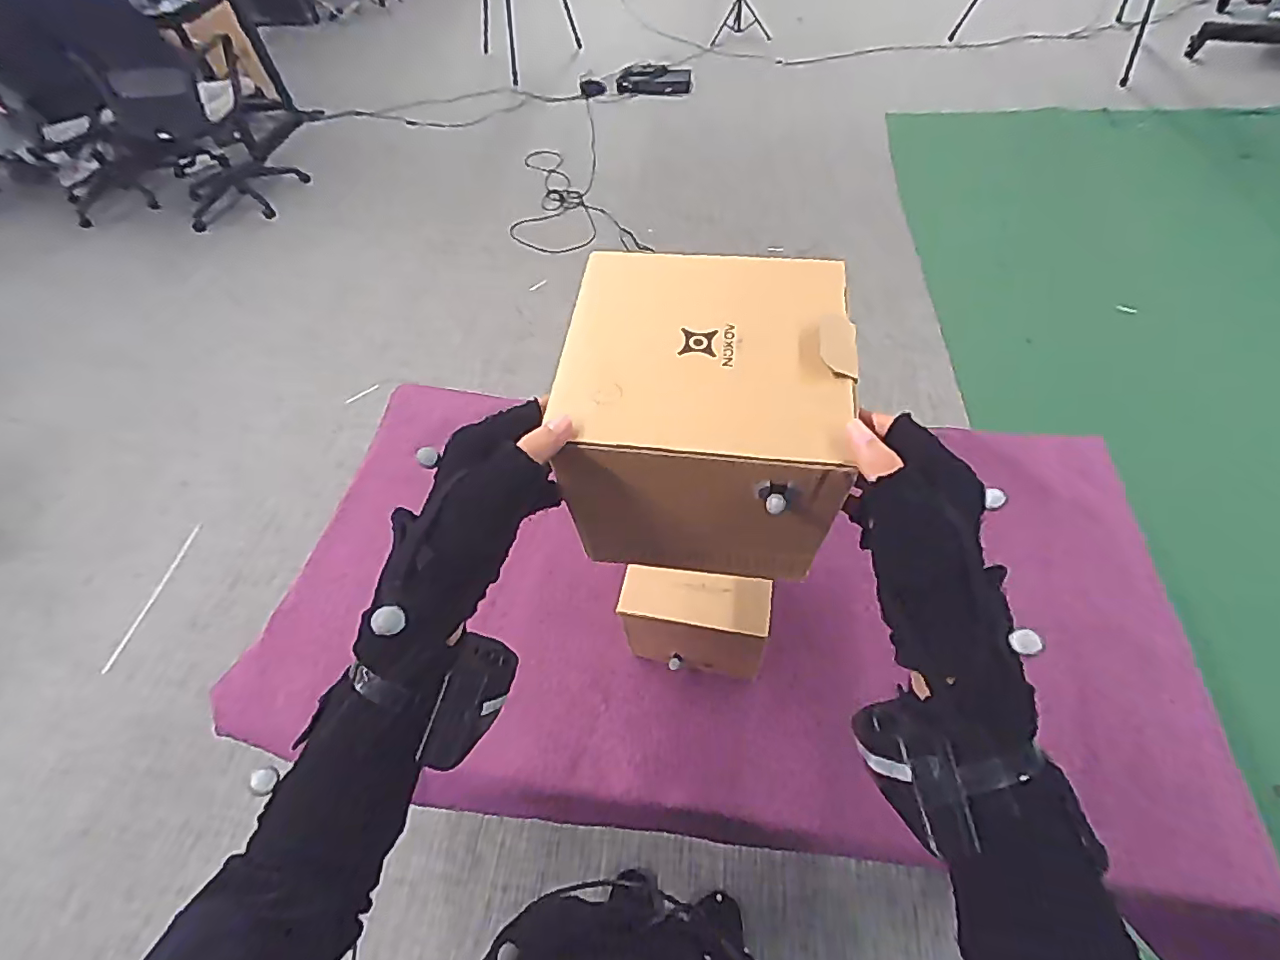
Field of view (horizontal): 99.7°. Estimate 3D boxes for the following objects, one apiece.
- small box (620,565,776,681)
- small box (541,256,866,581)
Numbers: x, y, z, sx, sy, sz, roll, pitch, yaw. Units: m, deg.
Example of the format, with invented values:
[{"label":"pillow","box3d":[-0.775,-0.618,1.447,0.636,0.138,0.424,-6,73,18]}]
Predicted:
[{"label":"small box","box3d":[0.080,0.132,0.686,0.168,0.176,0.179,7,56,11]},{"label":"small box","box3d":[0.045,-0.037,0.394,0.179,0.176,0.168,5,59,6]}]
